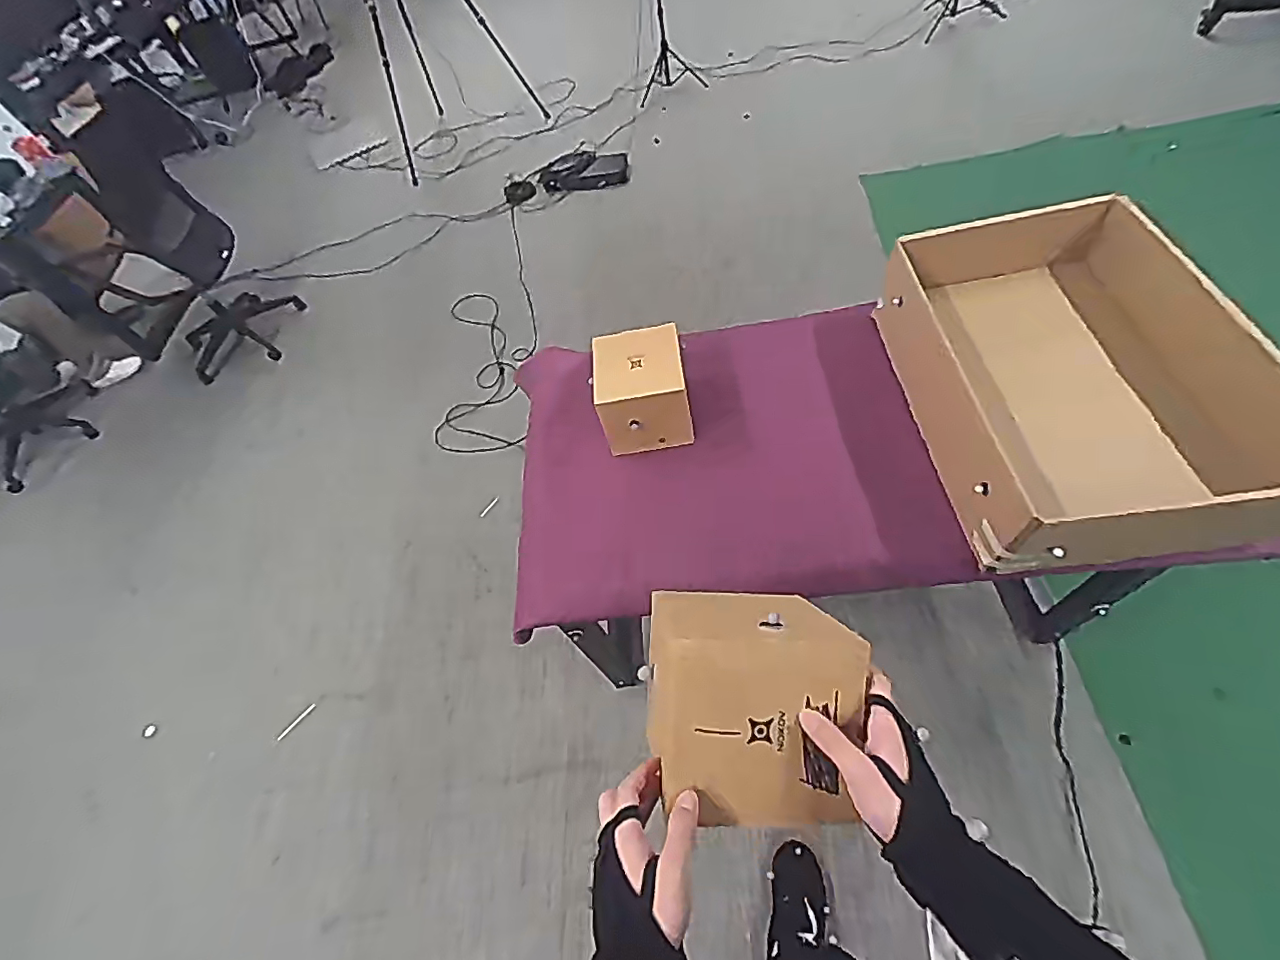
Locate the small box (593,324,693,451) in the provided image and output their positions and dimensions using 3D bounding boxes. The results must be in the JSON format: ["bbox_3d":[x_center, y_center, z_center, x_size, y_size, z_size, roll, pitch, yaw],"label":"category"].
[{"bbox_3d":[0.008,-0.173,1.063,0.168,0.176,0.179,-9,55,6],"label":"small box"}]
